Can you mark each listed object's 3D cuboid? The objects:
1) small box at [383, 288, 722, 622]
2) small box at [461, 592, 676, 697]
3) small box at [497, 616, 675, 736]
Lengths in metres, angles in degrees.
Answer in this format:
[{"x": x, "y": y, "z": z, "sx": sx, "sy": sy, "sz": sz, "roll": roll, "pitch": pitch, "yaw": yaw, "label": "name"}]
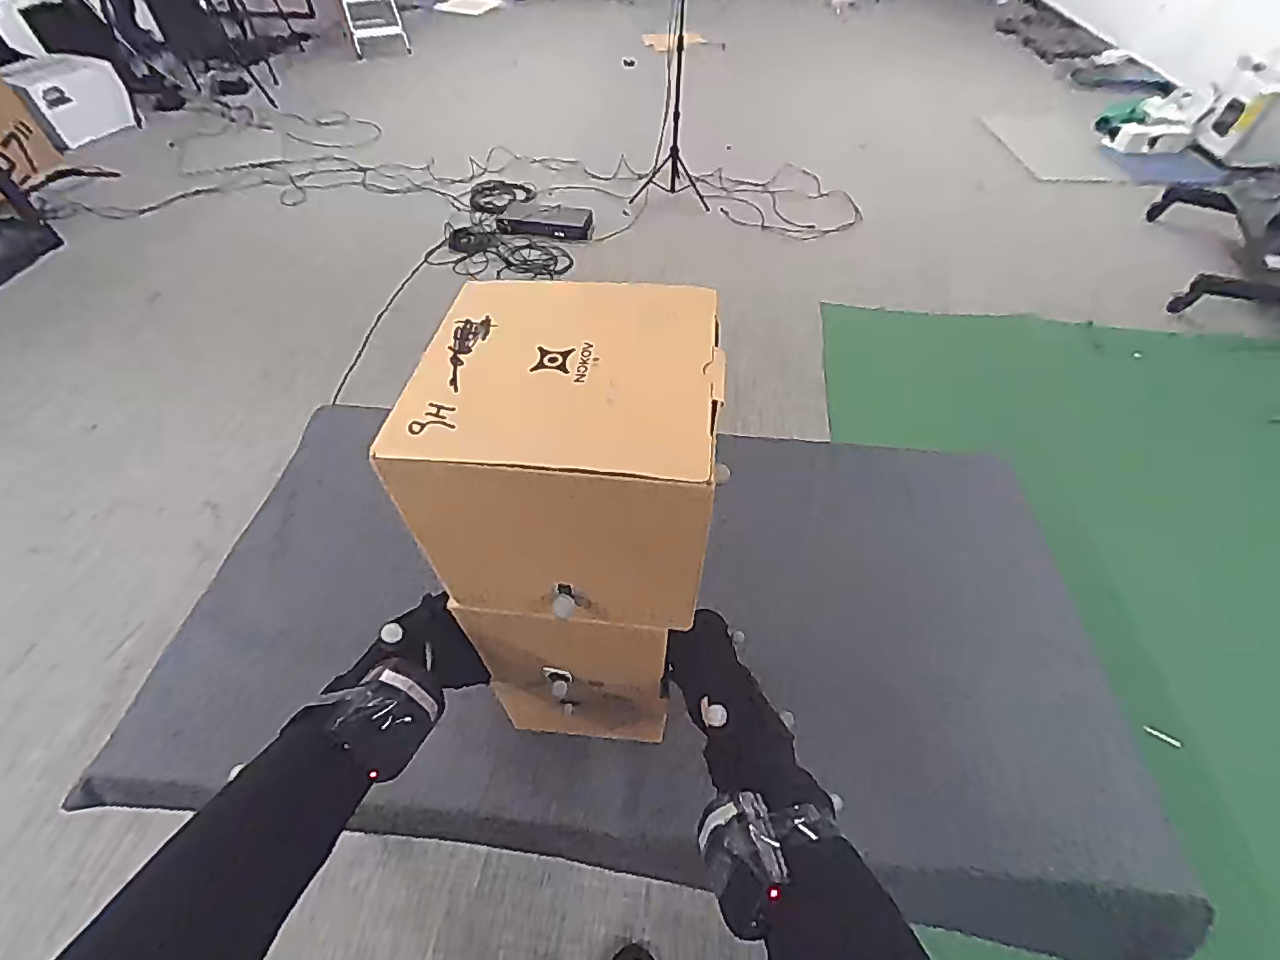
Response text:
[{"x": -0.040, "y": -0.013, "z": 0.386, "sx": 0.179, "sy": 0.176, "sz": 0.168, "roll": 5, "pitch": 50, "yaw": 4, "label": "small box"}, {"x": -0.047, "y": 0.086, "z": 0.517, "sx": 0.168, "sy": 0.176, "sz": 0.179, "roll": 4, "pitch": 52, "yaw": 5, "label": "small box"}, {"x": -0.050, "y": 0.191, "z": 0.640, "sx": 0.179, "sy": 0.176, "sz": 0.168, "roll": 4, "pitch": 51, "yaw": 2, "label": "small box"}]
